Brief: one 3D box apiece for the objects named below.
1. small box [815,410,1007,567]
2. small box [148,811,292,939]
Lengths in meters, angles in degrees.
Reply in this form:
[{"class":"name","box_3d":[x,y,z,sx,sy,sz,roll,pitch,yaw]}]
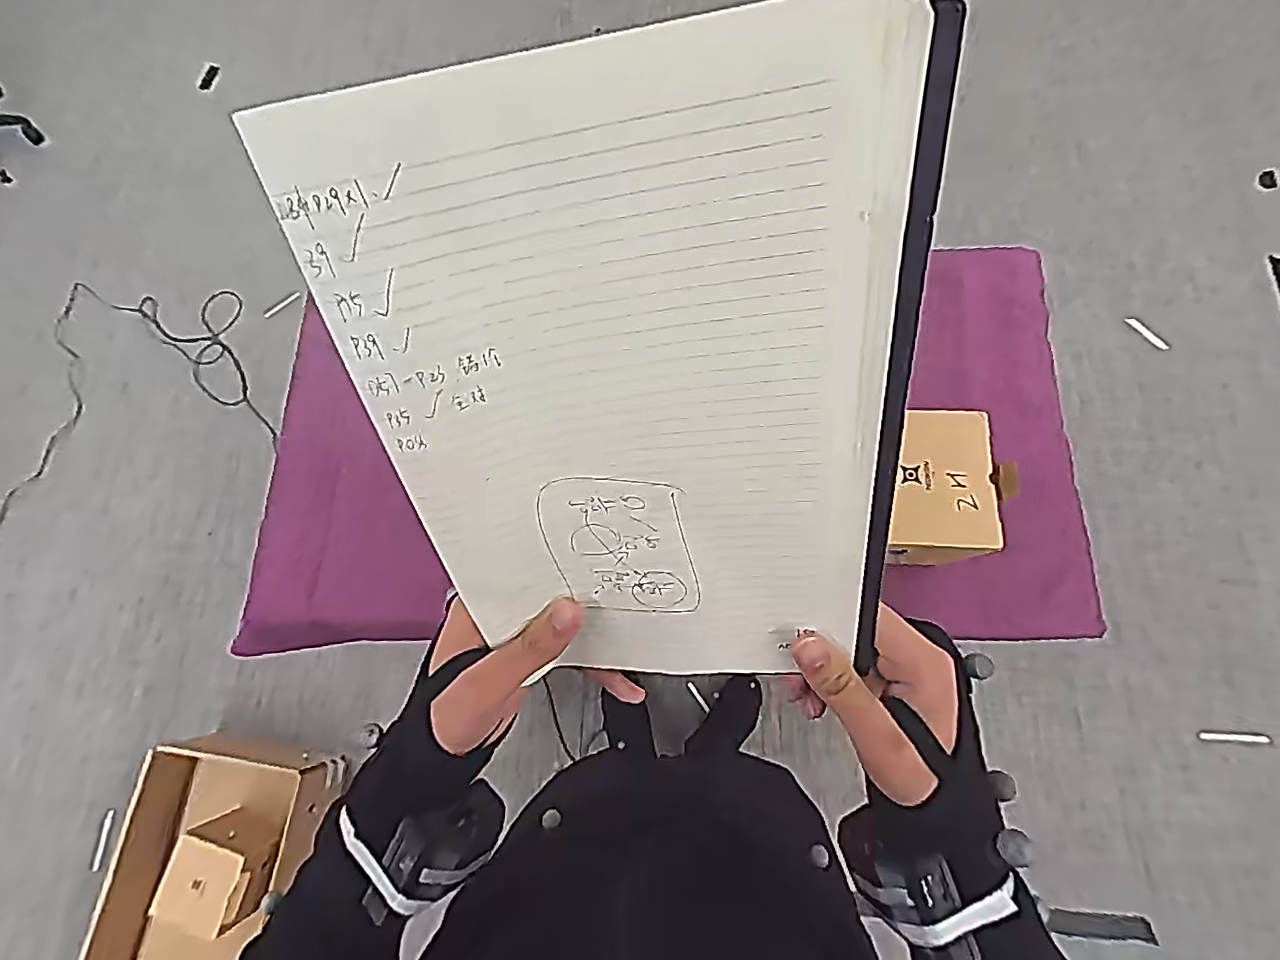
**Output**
[{"class":"small box","box_3d":[0.328,0.019,0.696,0.179,0.176,0.168,2,75,5]},{"class":"small box","box_3d":[-0.967,0.910,1.265,0.179,0.176,0.168,15,77,8]}]
